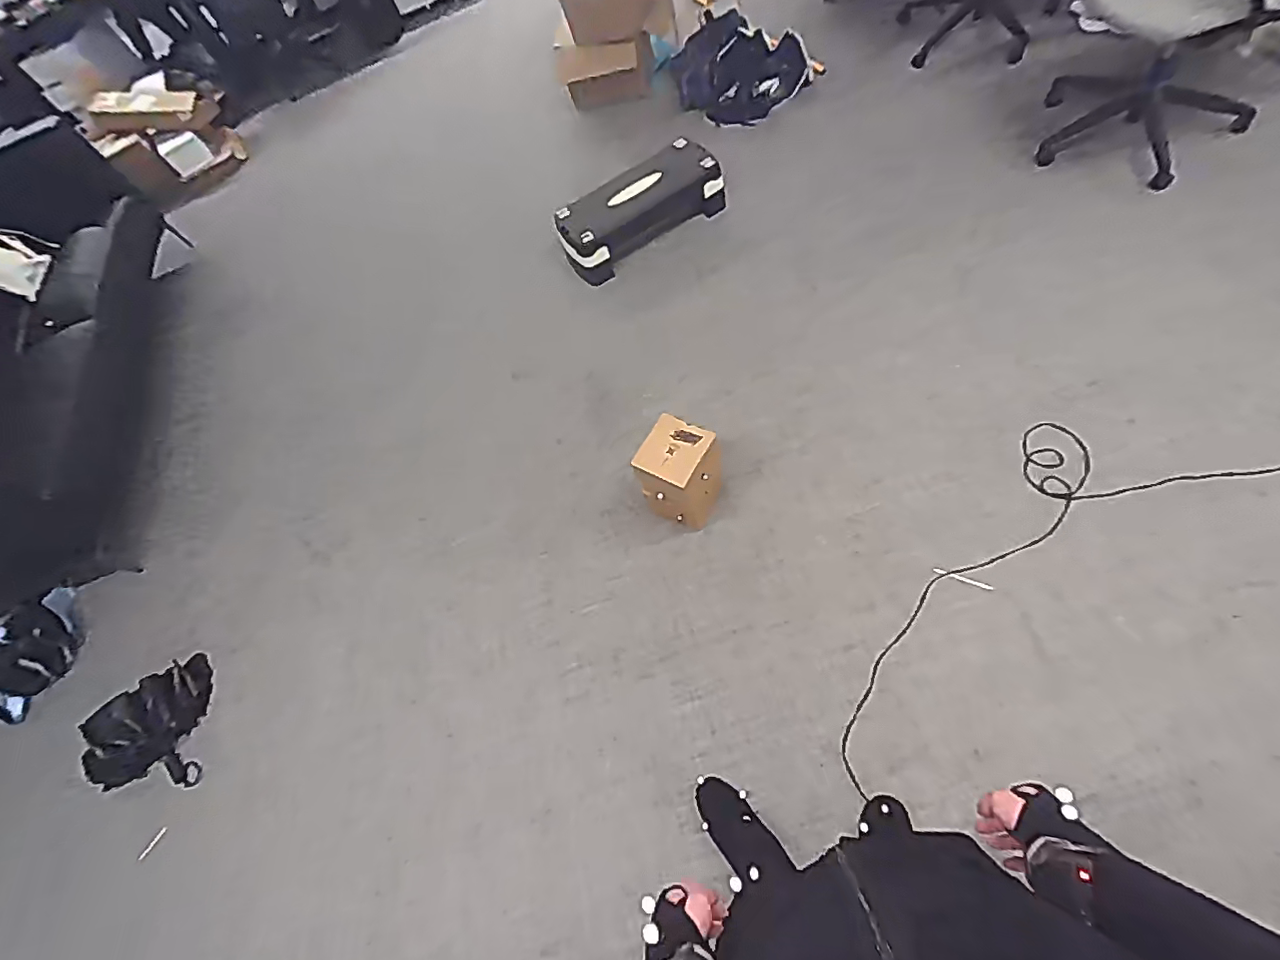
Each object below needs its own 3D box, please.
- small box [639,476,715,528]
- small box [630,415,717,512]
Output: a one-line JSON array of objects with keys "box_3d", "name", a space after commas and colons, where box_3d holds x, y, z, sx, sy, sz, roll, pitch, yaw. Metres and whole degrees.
[{"box_3d": [0.119, 0.024, 1.627, 0.168, 0.176, 0.179, 18, 68, 21], "name": "small box"}, {"box_3d": [0.099, -0.042, 1.477, 0.168, 0.176, 0.179, 26, 73, 24], "name": "small box"}]
